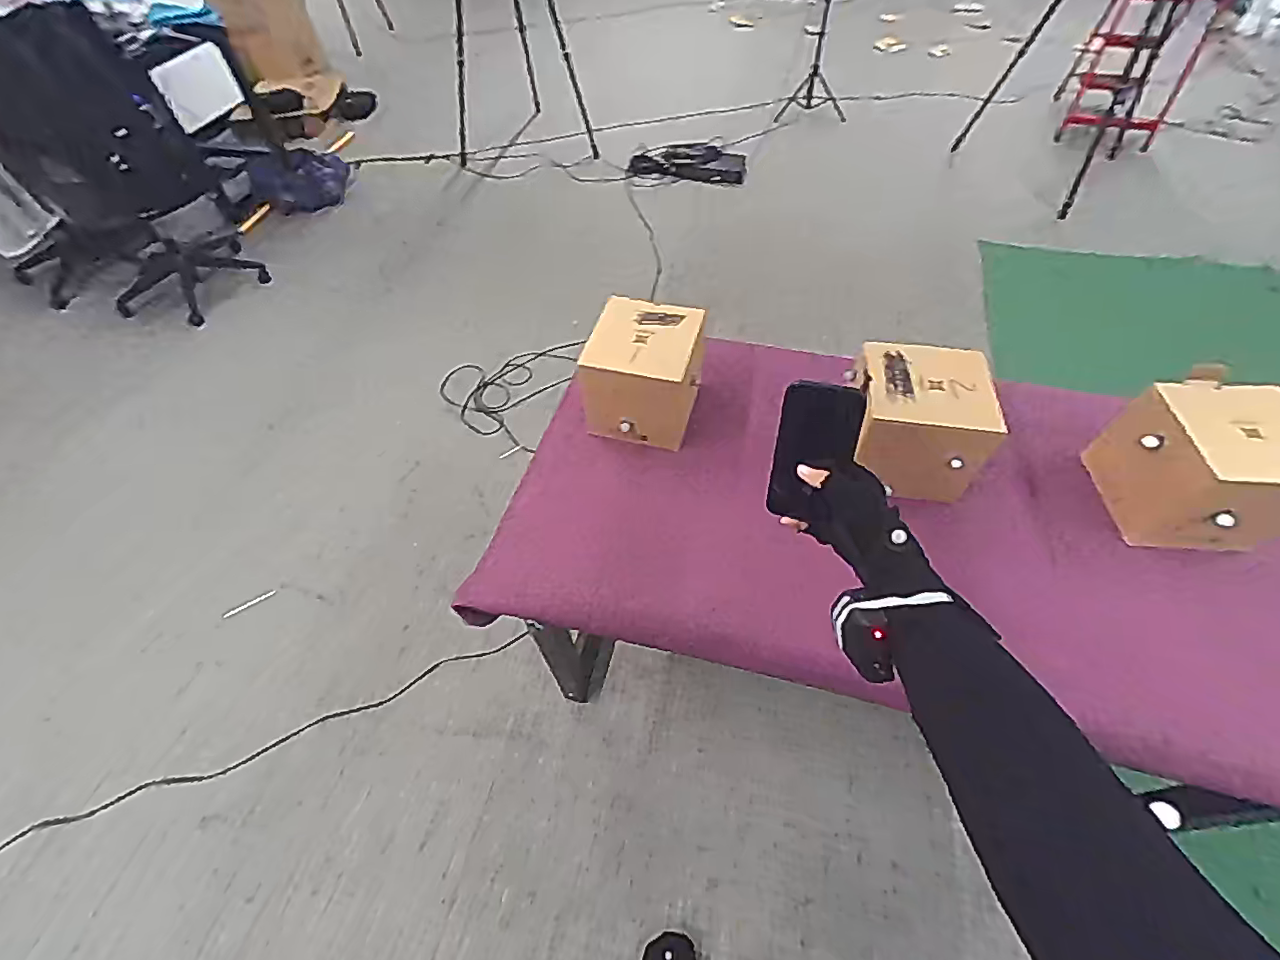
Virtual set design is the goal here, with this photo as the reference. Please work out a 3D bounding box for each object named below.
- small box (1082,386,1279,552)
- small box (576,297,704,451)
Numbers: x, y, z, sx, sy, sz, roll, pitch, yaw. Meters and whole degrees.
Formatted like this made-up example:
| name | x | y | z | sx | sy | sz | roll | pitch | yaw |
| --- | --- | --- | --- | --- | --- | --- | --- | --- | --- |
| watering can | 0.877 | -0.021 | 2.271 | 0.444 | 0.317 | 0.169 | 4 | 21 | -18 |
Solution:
| name | x | y | z | sx | sy | sz | roll | pitch | yaw |
| --- | --- | --- | --- | --- | --- | --- | --- | --- | --- |
| small box | 0.788 | -0.012 | 0.766 | 0.168 | 0.176 | 0.179 | 2 | 53 | 5 |
| small box | 0.005 | -0.177 | 0.915 | 0.168 | 0.176 | 0.179 | 12 | 57 | 11 |
